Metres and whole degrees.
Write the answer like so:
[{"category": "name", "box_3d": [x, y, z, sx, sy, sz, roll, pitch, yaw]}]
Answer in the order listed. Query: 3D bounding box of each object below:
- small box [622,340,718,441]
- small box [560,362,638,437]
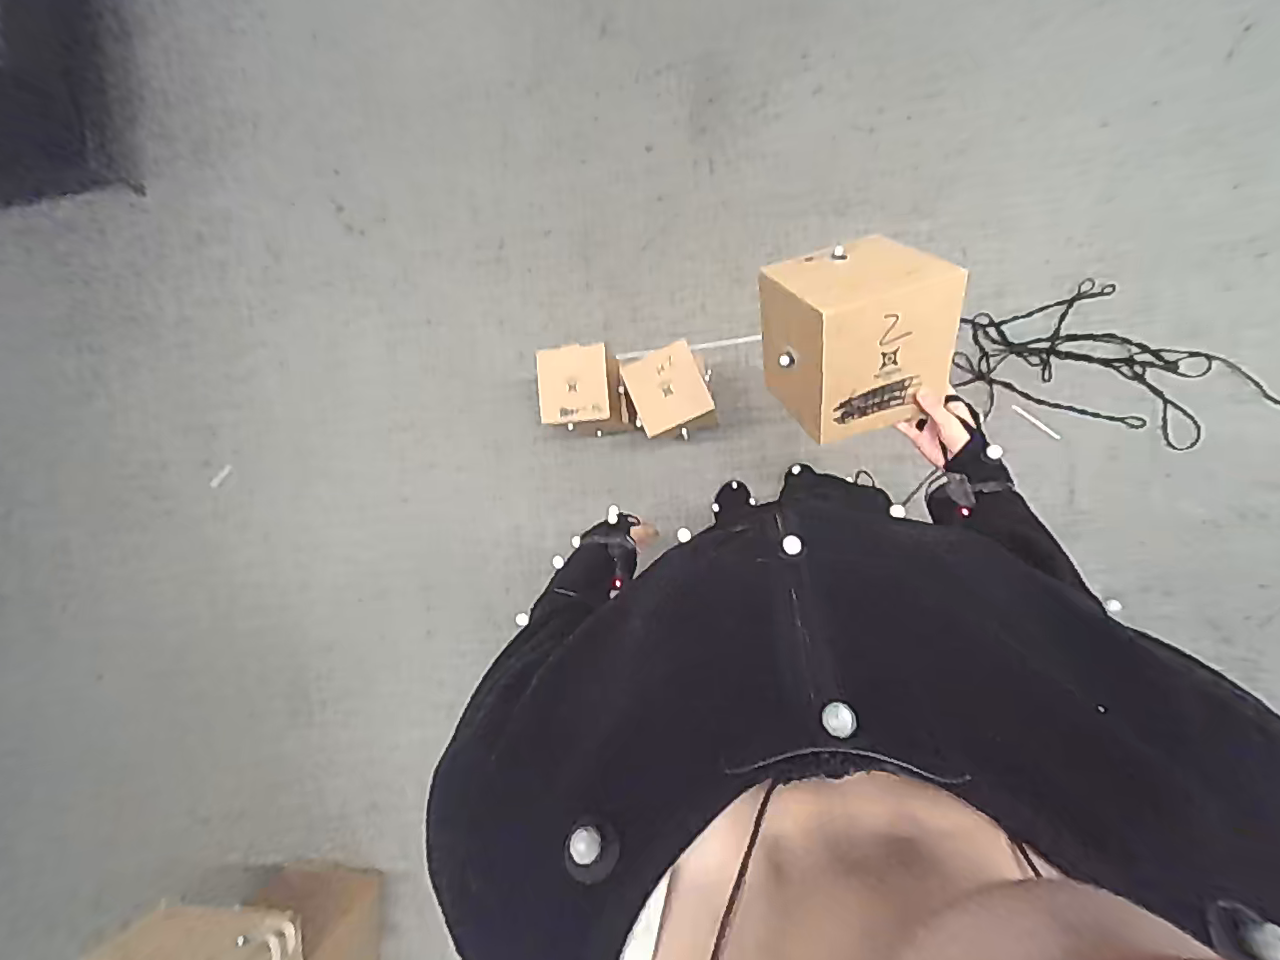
[{"category": "small box", "box_3d": [0.078, -0.200, 1.274, 0.168, 0.176, 0.179, -23, 85, 8]}, {"category": "small box", "box_3d": [-0.103, -0.212, 1.469, 0.179, 0.176, 0.168, -6, 88, 9]}]
